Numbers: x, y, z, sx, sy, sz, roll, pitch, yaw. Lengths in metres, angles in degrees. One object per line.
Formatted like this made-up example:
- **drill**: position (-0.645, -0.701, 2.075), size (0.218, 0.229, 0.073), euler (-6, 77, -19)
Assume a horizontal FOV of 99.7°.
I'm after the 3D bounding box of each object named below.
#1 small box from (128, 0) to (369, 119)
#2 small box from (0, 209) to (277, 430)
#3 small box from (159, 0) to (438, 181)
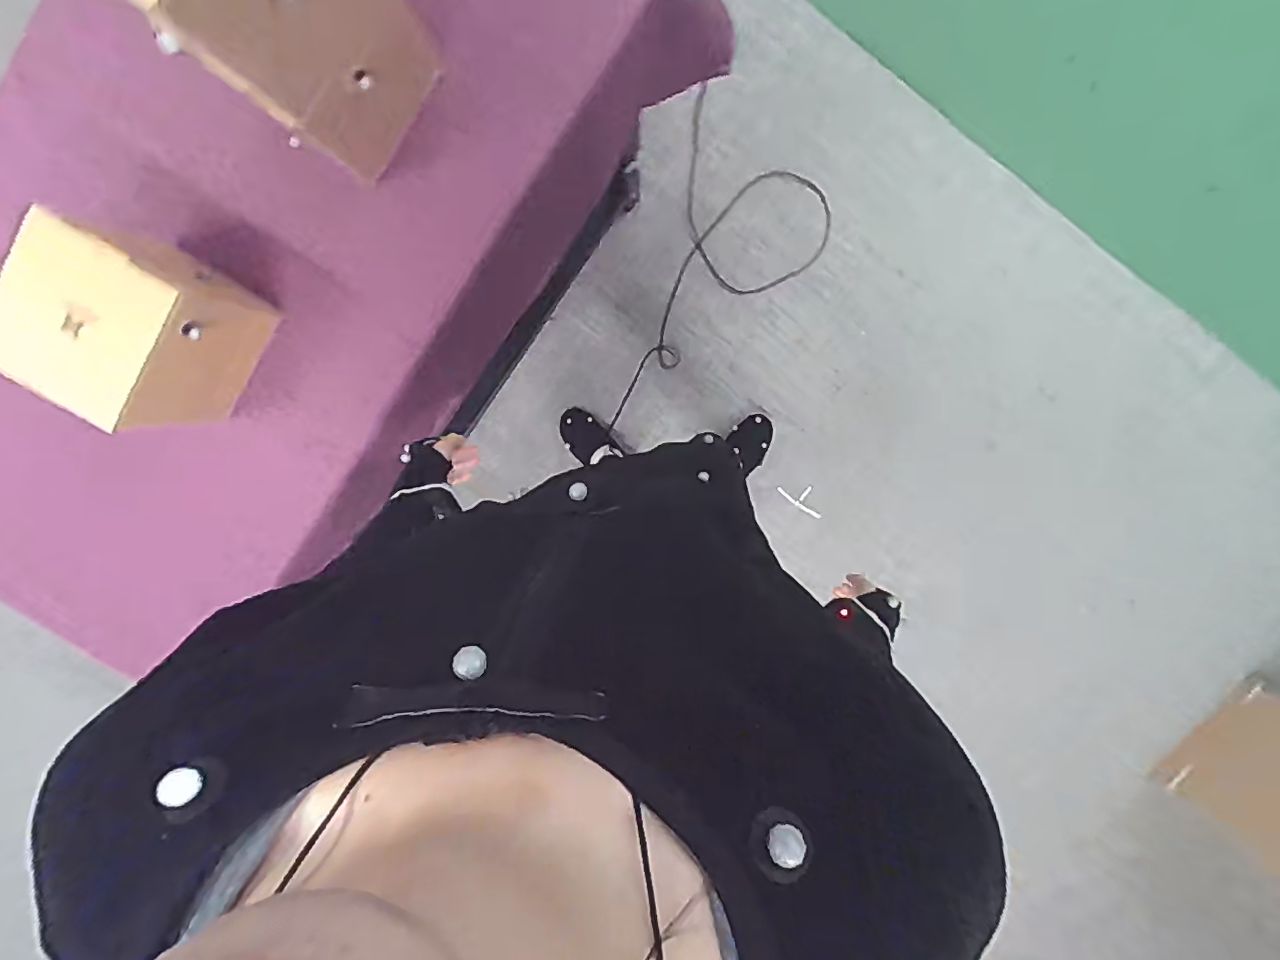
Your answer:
- **small box**: position (-0.354, -0.455, 0.442), size (0.168, 0.176, 0.179), euler (36, 98, -6)
- **small box**: position (-0.592, -0.179, 0.654), size (0.168, 0.176, 0.179), euler (31, 97, -5)
- **small box**: position (-0.358, -0.479, 0.605), size (0.168, 0.176, 0.179), euler (36, 97, -6)
